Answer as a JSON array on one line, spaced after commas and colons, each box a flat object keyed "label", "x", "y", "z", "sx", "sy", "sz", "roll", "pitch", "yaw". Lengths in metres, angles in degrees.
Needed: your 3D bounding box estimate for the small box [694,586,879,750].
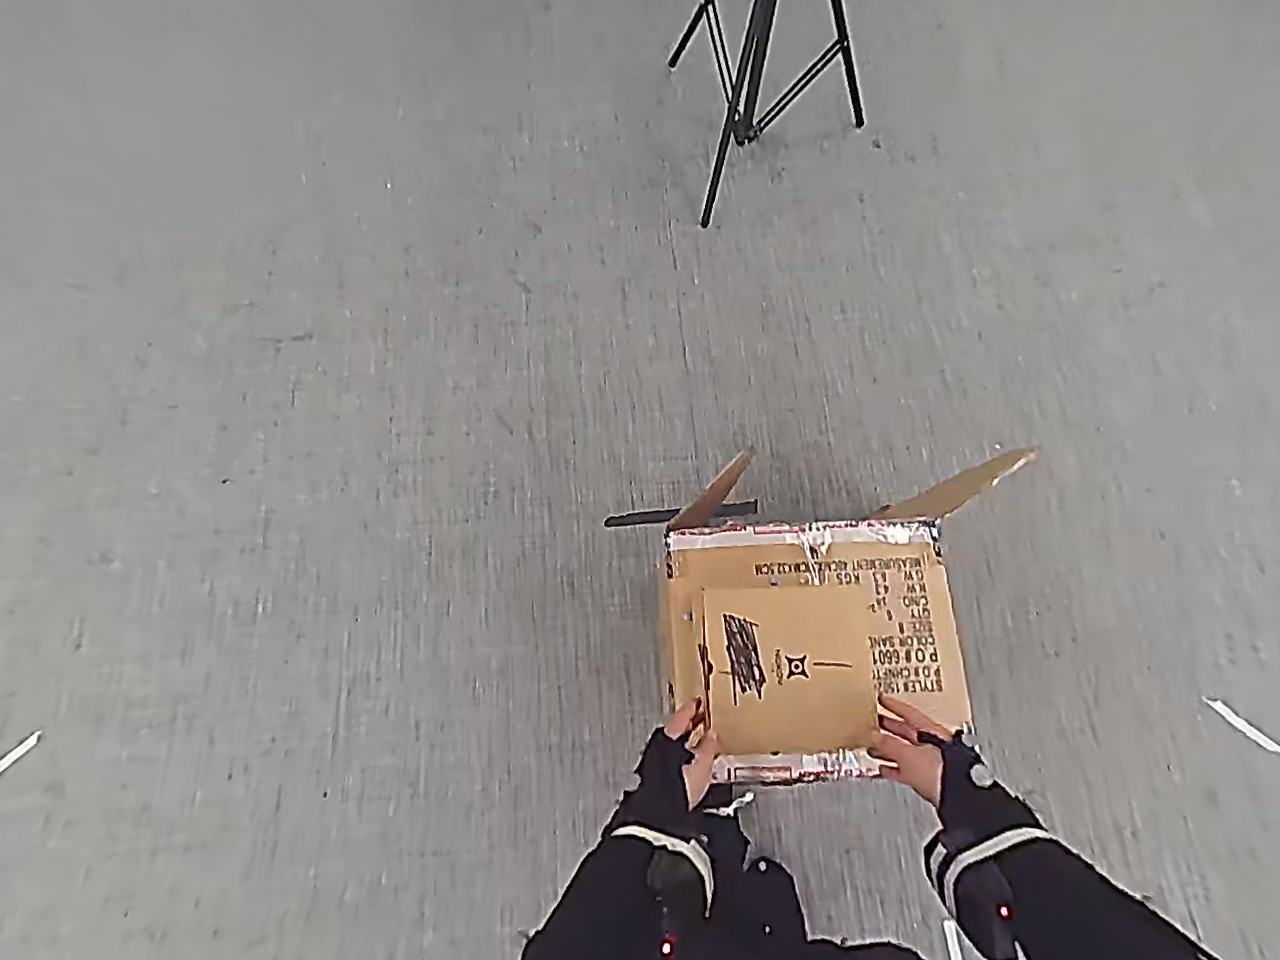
[{"label": "small box", "x": 0.157, "y": 0.215, "z": 0.646, "sx": 0.179, "sy": 0.176, "sz": 0.168, "roll": -2, "pitch": 77, "yaw": 0}]
